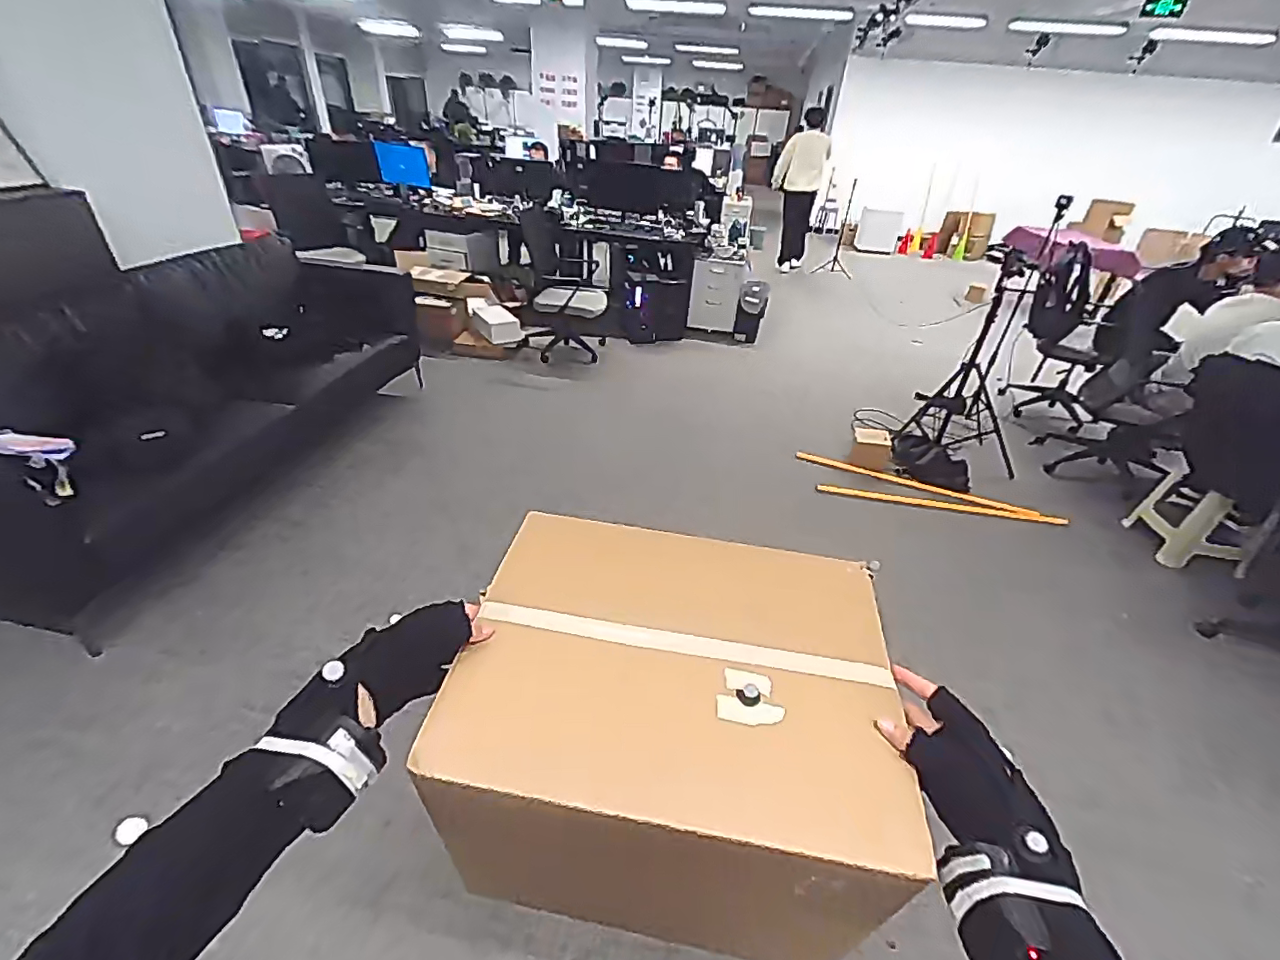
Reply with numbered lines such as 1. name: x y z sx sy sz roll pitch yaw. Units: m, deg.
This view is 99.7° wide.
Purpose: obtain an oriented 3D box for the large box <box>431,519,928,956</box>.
1. large box: 0.034 0.282 0.628 0.408 0.320 0.320 9 39 5
